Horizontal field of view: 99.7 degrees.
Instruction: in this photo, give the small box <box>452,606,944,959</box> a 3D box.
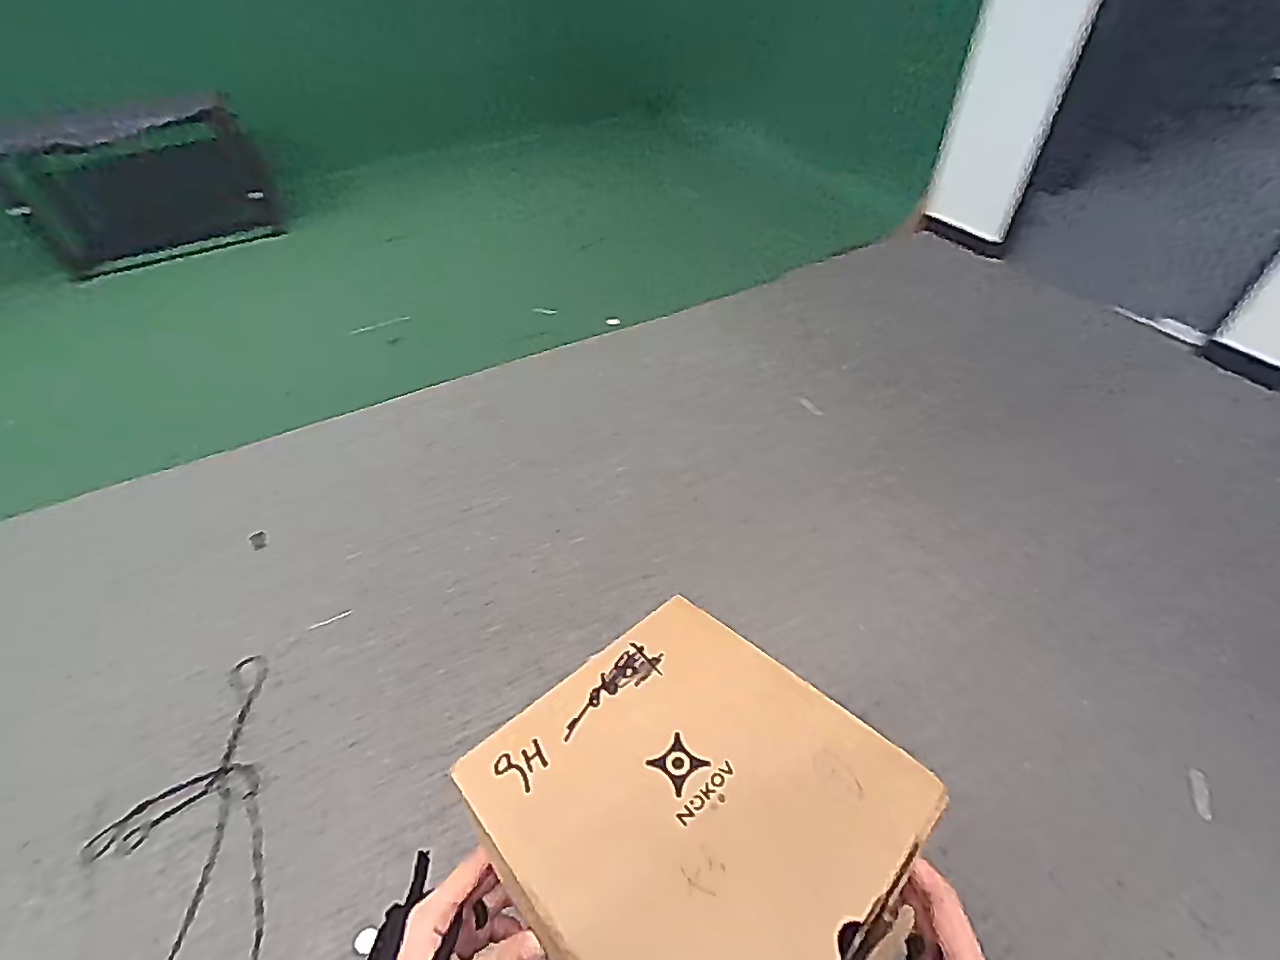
[{"bbox_3d":[0.026,0.214,0.303,0.168,0.176,0.179,-28,42,-32],"label":"small box"}]
